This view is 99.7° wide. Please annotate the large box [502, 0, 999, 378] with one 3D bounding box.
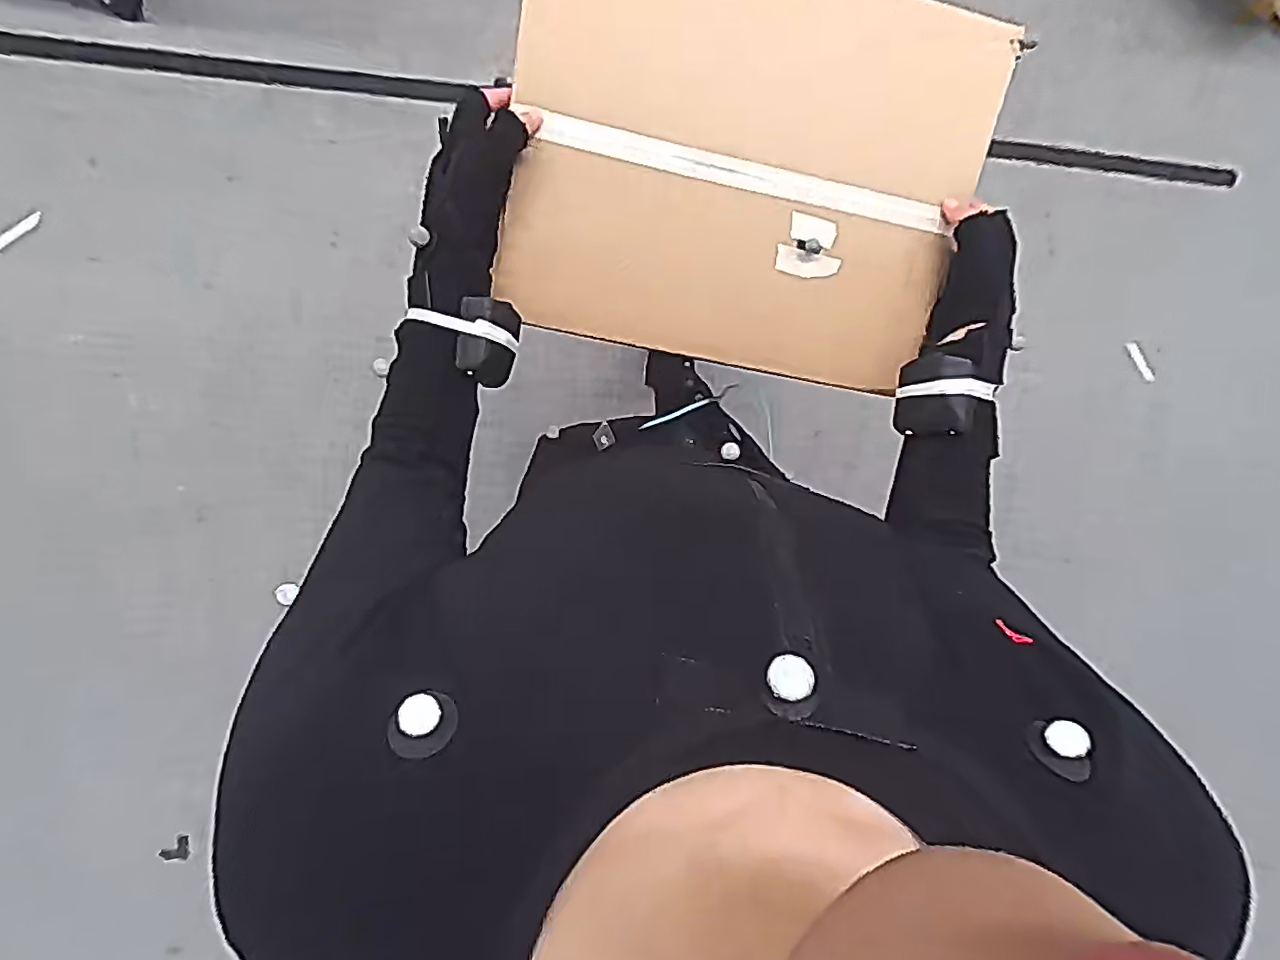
[{"bbox_3d":[0.077,-0.314,0.620,0.408,0.320,0.320,9,106,-8],"label":"large box"}]
